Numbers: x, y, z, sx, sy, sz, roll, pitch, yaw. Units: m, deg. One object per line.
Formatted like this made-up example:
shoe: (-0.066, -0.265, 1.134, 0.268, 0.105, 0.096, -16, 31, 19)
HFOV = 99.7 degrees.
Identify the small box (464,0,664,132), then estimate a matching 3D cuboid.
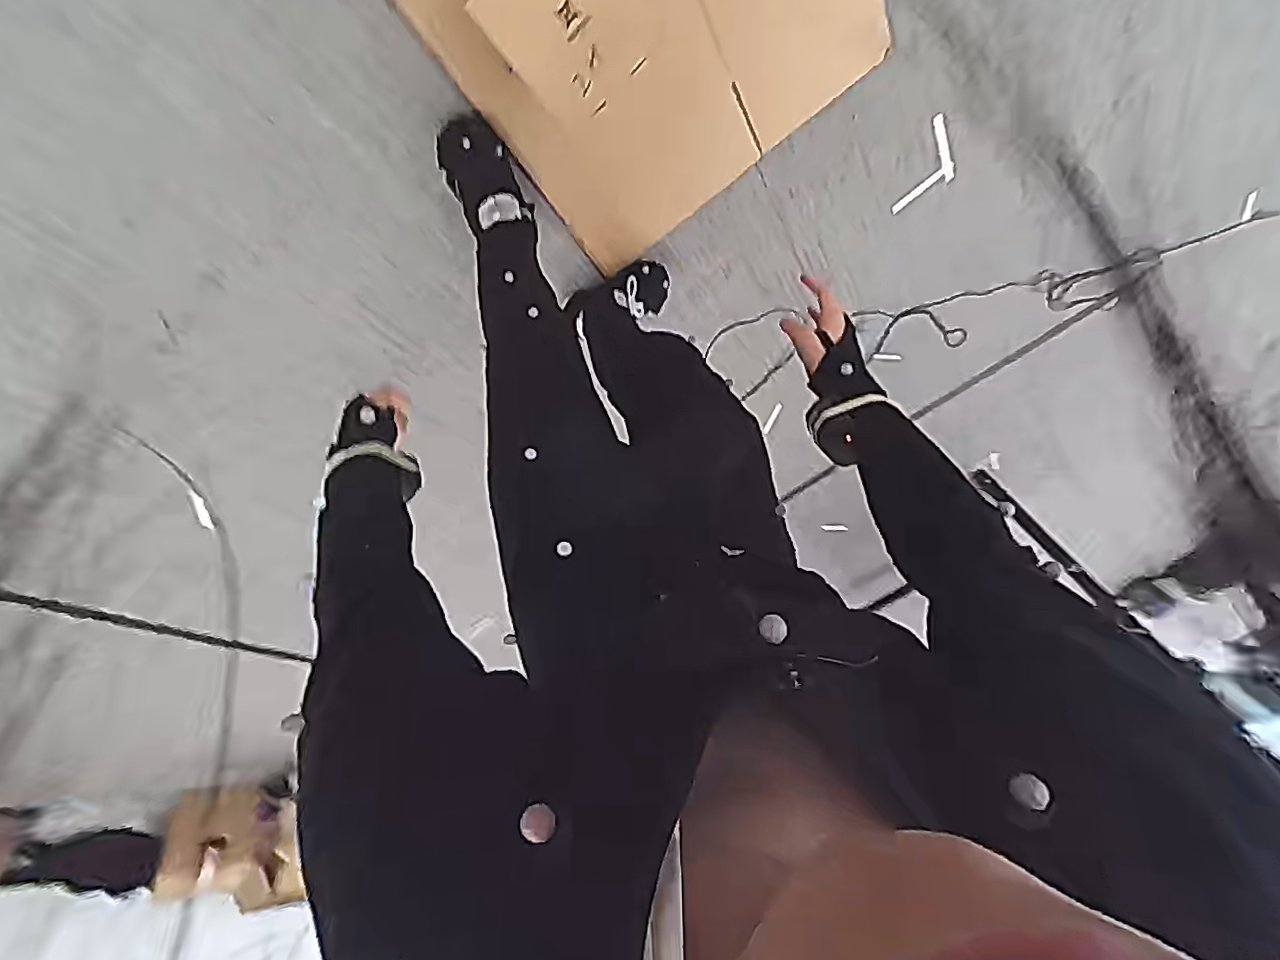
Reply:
small box: (-0.103, -0.586, 0.671, 0.168, 0.176, 0.179, -38, 137, 19)

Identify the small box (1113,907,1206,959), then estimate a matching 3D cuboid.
small box: (1.585, 1.432, 1.634, 0.168, 0.176, 0.179, -36, 140, 15)
